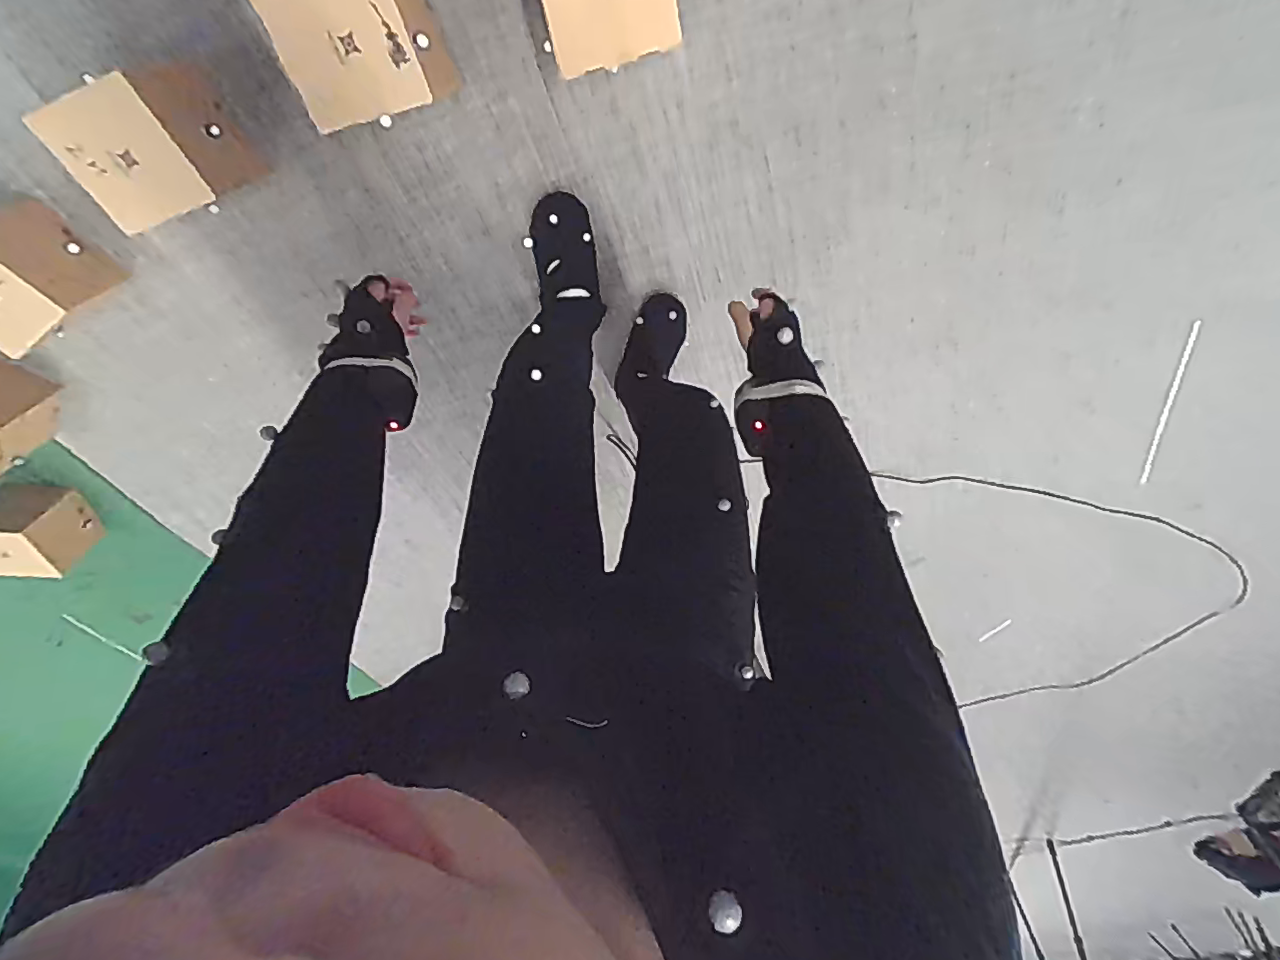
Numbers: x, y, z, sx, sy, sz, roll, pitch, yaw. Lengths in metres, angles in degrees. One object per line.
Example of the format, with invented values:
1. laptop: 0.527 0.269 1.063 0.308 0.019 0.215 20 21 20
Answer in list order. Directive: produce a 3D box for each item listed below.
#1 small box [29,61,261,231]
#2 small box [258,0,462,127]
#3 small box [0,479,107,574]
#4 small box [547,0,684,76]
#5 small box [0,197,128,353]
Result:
1. small box: -0.730 -0.516 0.831 0.179 0.176 0.168 -14 129 10
2. small box: -0.377 -0.618 0.754 0.179 0.176 0.168 -9 131 8
3. small box: -1.523 0.114 1.356 0.179 0.176 0.168 4 131 -5
4. small box: -0.042 -0.670 0.720 0.168 0.176 0.179 -11 131 7
5. small box: -1.077 -0.363 0.953 0.179 0.176 0.168 -25 127 18
